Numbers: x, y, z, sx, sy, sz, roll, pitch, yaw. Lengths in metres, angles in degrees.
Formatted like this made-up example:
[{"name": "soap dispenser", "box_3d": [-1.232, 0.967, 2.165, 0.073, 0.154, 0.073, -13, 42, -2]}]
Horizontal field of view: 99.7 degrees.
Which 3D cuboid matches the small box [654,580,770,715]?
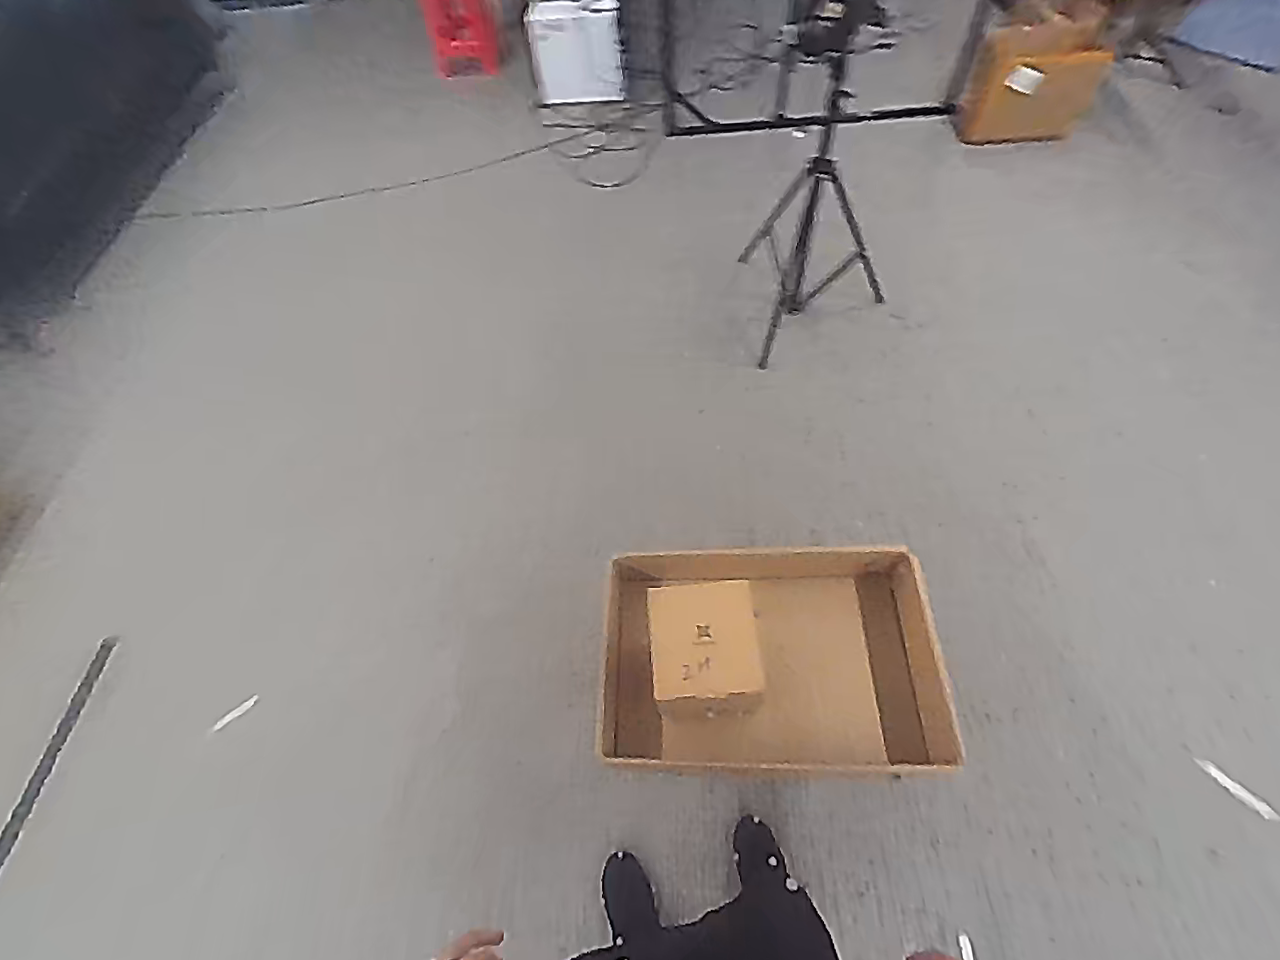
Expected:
[{"name": "small box", "box_3d": [0.113, 0.283, 0.903, 0.168, 0.176, 0.179, -5, 59, 3]}]
